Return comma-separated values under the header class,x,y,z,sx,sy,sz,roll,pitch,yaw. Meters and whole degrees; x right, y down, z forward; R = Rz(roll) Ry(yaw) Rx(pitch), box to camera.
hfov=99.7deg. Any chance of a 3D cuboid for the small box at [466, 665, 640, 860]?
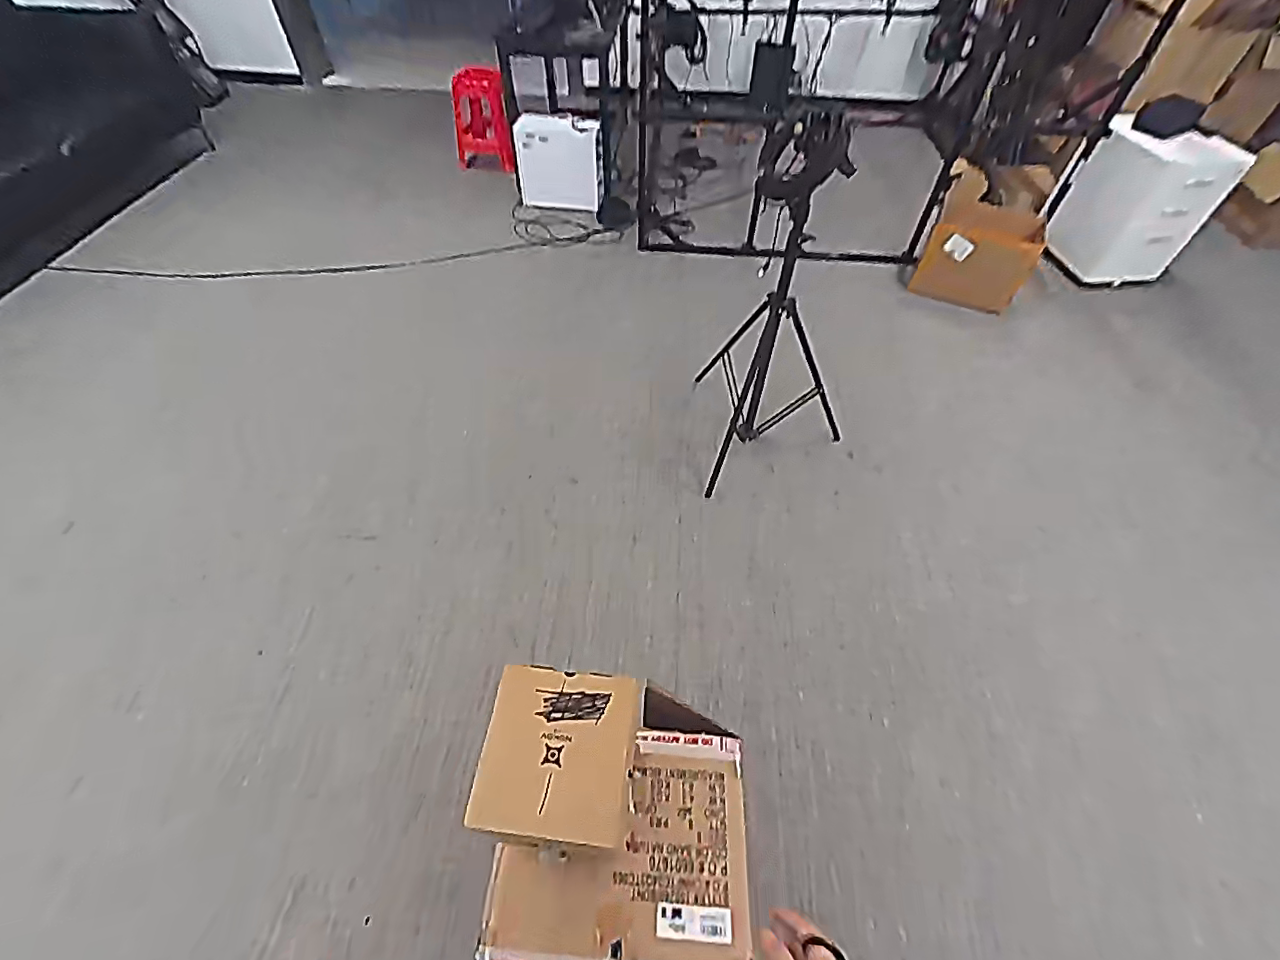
class,x,y,z,sx,sy,sz,roll,pitch,yaw
small box,-0.093,0.354,0.675,0.168,0.176,0.179,5,53,5
